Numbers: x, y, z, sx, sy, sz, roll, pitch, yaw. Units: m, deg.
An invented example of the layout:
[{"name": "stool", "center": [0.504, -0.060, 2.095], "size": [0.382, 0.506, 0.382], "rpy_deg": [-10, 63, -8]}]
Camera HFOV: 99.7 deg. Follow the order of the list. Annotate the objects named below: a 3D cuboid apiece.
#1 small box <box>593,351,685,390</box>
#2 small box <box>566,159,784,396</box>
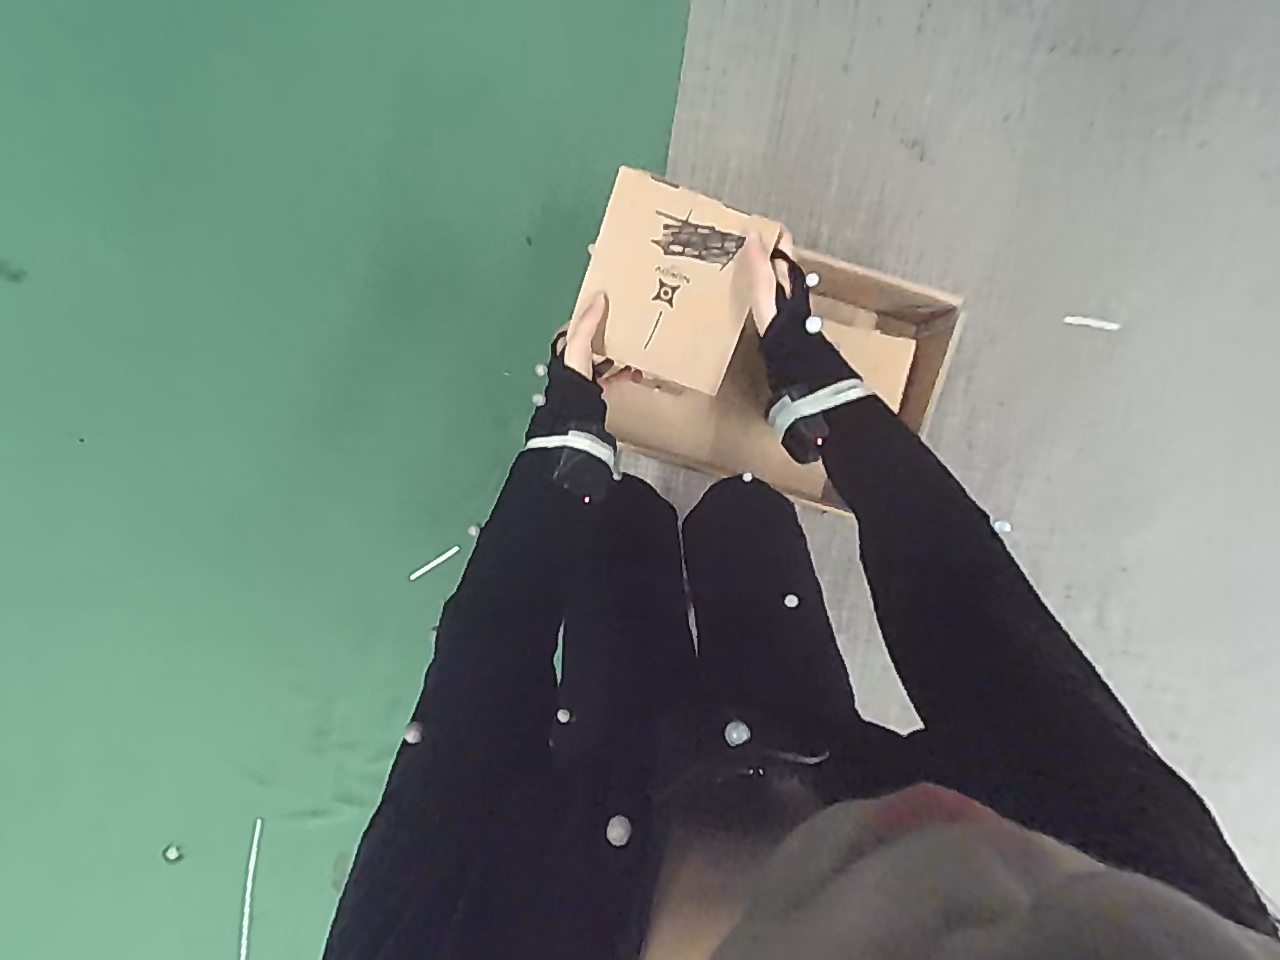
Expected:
[{"name": "small box", "center": [0.028, -0.266, 0.946], "size": [0.168, 0.176, 0.179], "rpy_deg": [18, 95, -2]}, {"name": "small box", "center": [0.034, -0.207, 0.596], "size": [0.168, 0.176, 0.179], "rpy_deg": [20, 103, -1]}]
